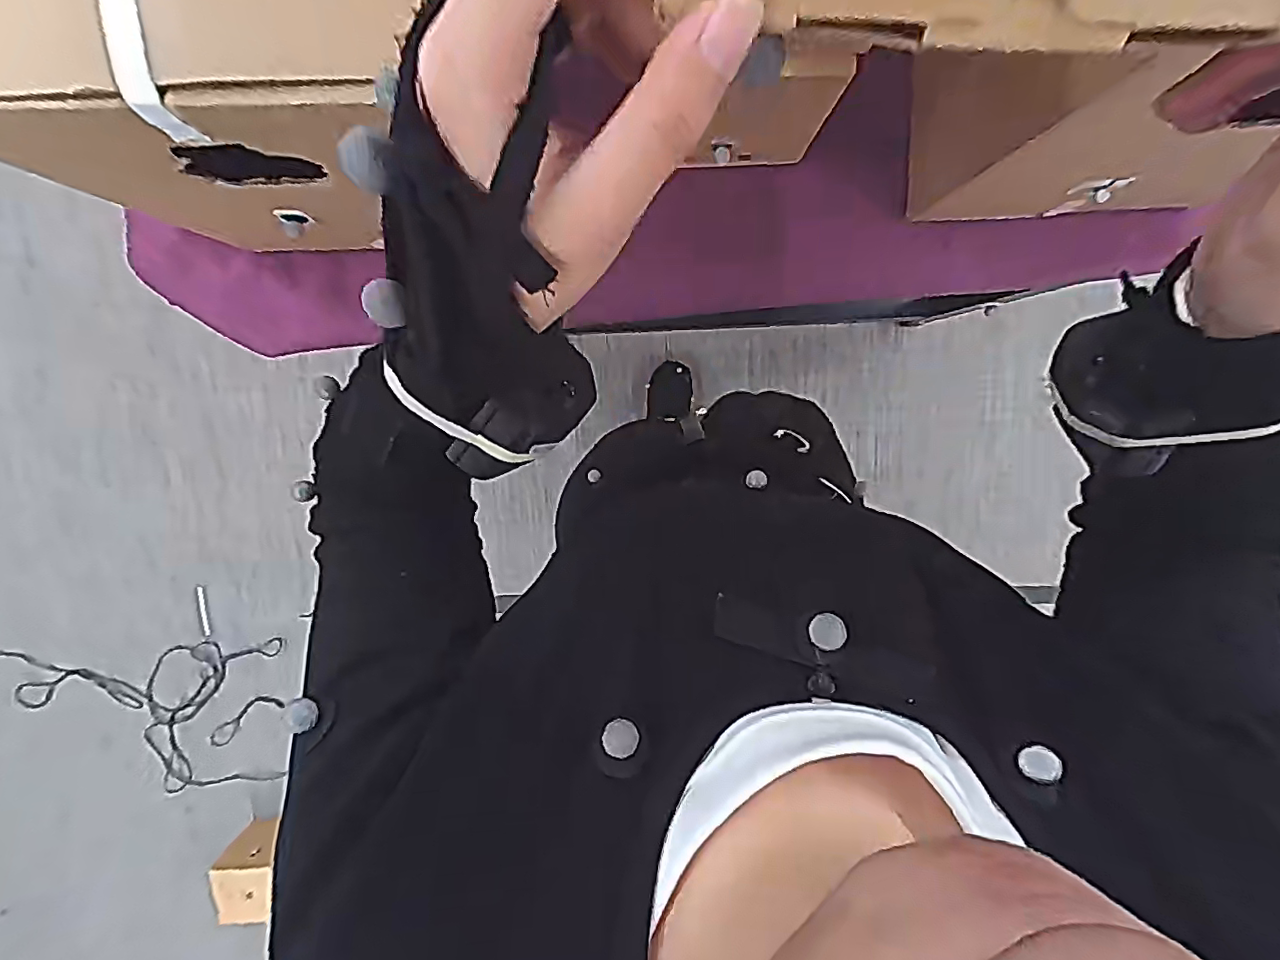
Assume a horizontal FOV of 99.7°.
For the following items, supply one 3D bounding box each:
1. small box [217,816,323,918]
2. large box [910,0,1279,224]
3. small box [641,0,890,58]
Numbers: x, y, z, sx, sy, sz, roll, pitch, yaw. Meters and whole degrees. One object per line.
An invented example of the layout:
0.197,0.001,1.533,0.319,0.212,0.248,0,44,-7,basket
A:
-1.007,1.059,1.491,0.179,0.176,0.168,-4,100,2,small box
0.424,-0.457,0.402,0.320,0.320,0.408,-3,98,1,large box
0.086,-0.392,0.322,0.179,0.176,0.168,-2,99,2,small box
